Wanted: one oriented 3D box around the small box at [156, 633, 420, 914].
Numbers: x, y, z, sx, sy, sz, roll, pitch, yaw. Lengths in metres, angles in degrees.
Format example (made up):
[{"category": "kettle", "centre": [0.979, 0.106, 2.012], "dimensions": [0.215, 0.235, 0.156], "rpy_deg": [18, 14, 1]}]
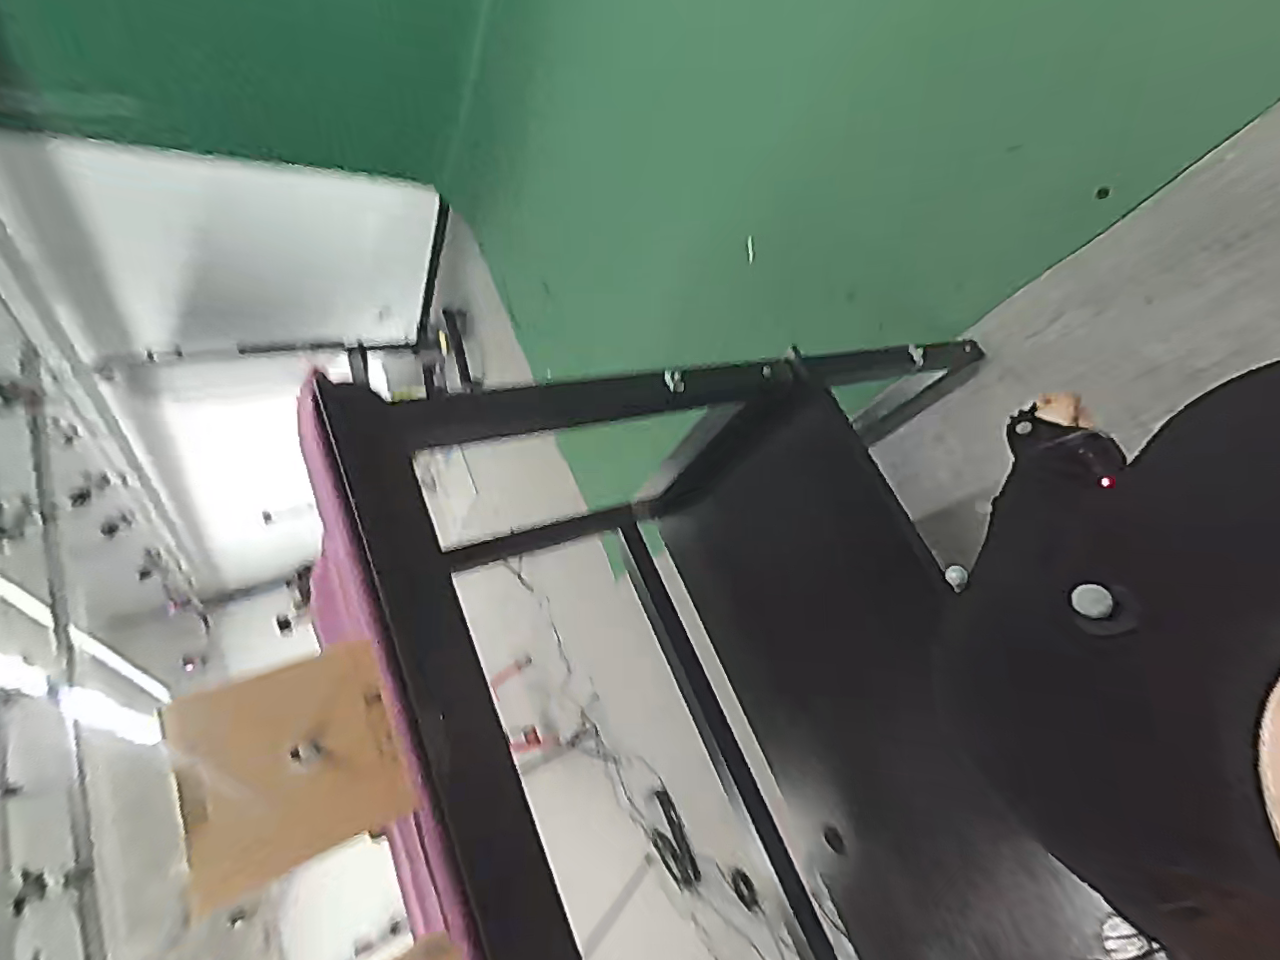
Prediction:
[{"category": "small box", "centre": [-0.327, 0.266, 0.522], "dimensions": [0.179, 0.176, 0.168], "rpy_deg": [-45, 64, 50]}]
